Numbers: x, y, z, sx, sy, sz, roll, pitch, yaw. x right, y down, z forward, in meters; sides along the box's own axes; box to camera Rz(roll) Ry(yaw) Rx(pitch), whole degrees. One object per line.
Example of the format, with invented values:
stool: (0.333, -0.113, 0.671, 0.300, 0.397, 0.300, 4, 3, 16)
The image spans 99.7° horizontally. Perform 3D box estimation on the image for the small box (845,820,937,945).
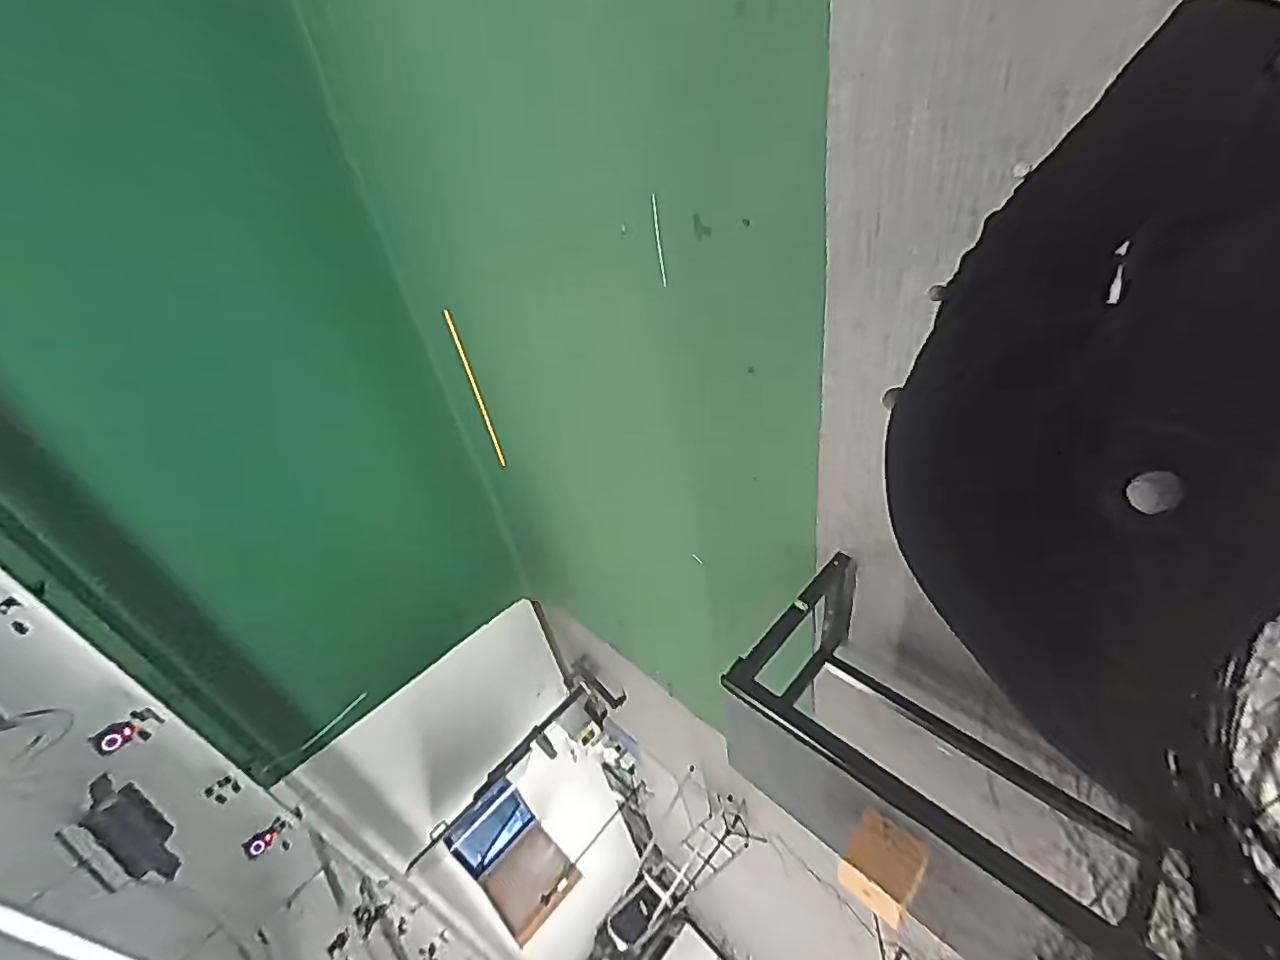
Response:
small box: (0.659, 1.051, 1.421, 0.168, 0.176, 0.179, 22, 137, 41)
